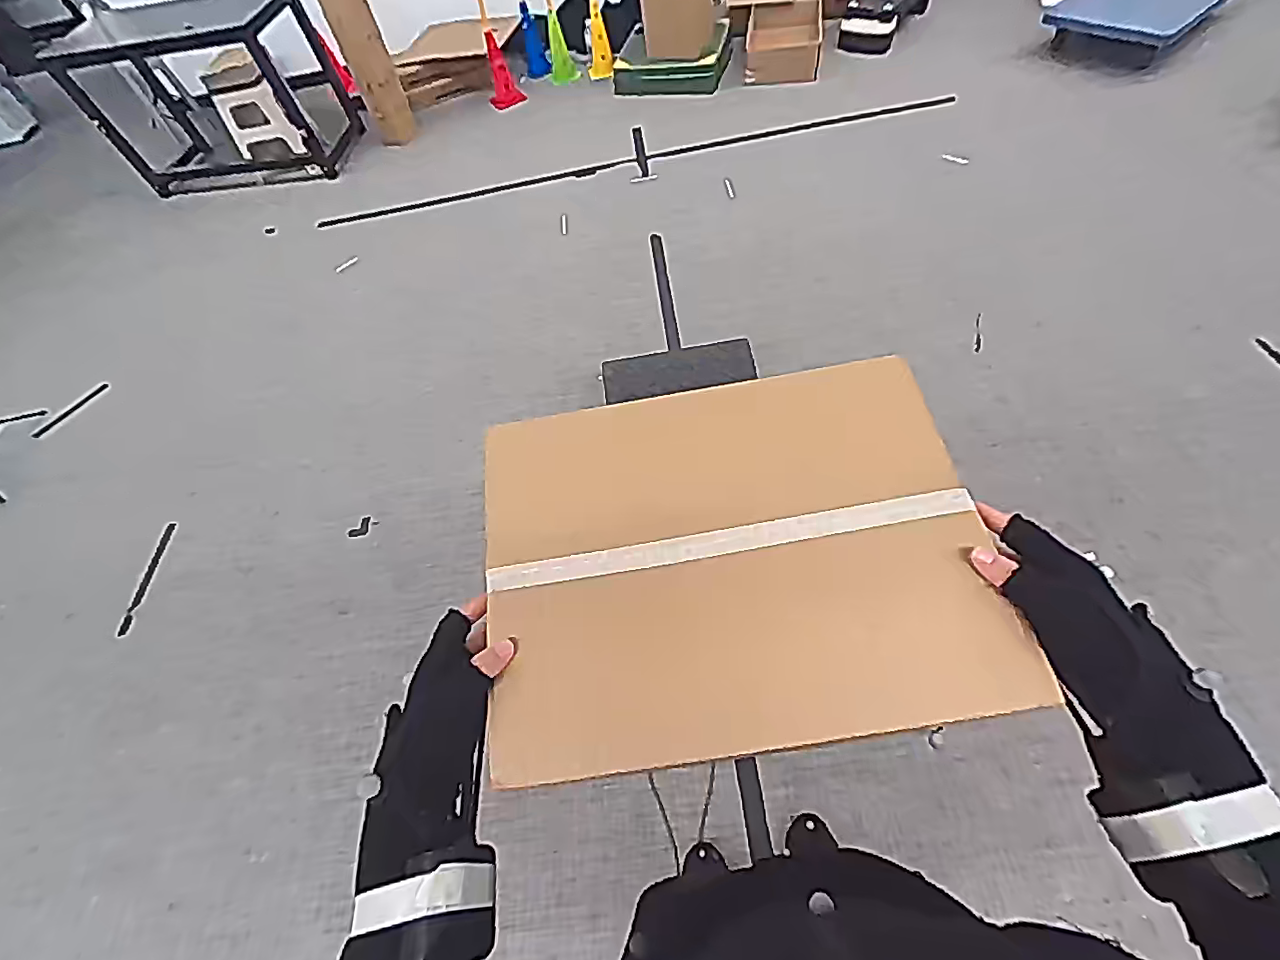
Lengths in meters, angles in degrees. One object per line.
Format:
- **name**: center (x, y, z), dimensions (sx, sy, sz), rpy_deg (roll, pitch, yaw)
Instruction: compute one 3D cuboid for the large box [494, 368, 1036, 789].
- **large box**: center (0.088, 0.123, 0.592), dimensions (0.408, 0.320, 0.320), rpy_deg (-9, 62, 1)
